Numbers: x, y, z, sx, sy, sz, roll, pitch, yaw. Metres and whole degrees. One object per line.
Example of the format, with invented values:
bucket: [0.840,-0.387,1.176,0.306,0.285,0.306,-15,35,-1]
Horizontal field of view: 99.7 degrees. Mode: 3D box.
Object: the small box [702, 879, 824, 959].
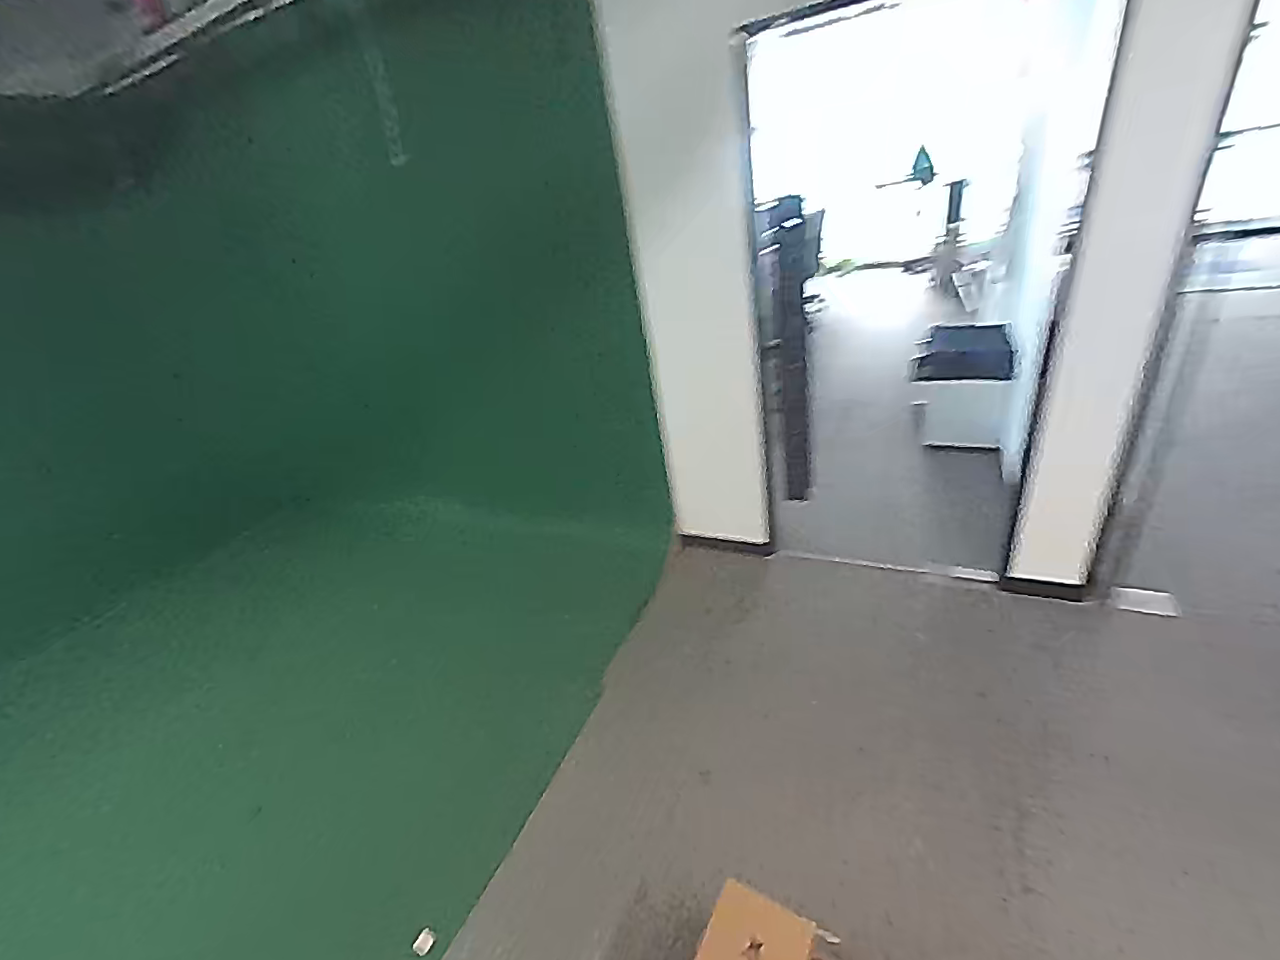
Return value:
small box: [0.211,0.861,0.939,0.168,0.176,0.179,9,34,32]
